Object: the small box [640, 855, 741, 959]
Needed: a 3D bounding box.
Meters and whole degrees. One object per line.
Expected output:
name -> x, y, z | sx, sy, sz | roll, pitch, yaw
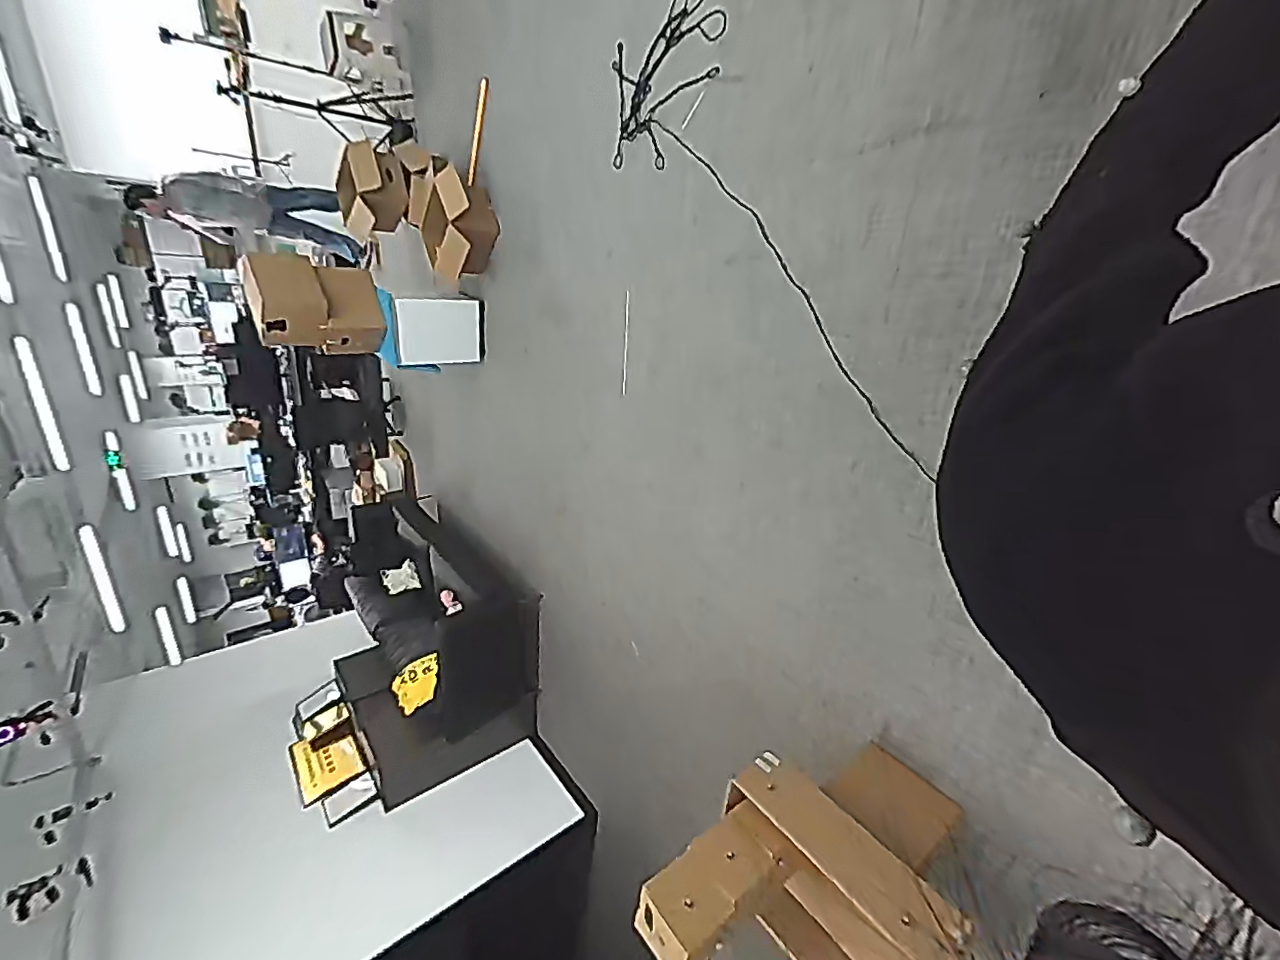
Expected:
small box -> 0.127, 1.108, 1.381 | 0.179, 0.176, 0.168 | 33, 125, 43
